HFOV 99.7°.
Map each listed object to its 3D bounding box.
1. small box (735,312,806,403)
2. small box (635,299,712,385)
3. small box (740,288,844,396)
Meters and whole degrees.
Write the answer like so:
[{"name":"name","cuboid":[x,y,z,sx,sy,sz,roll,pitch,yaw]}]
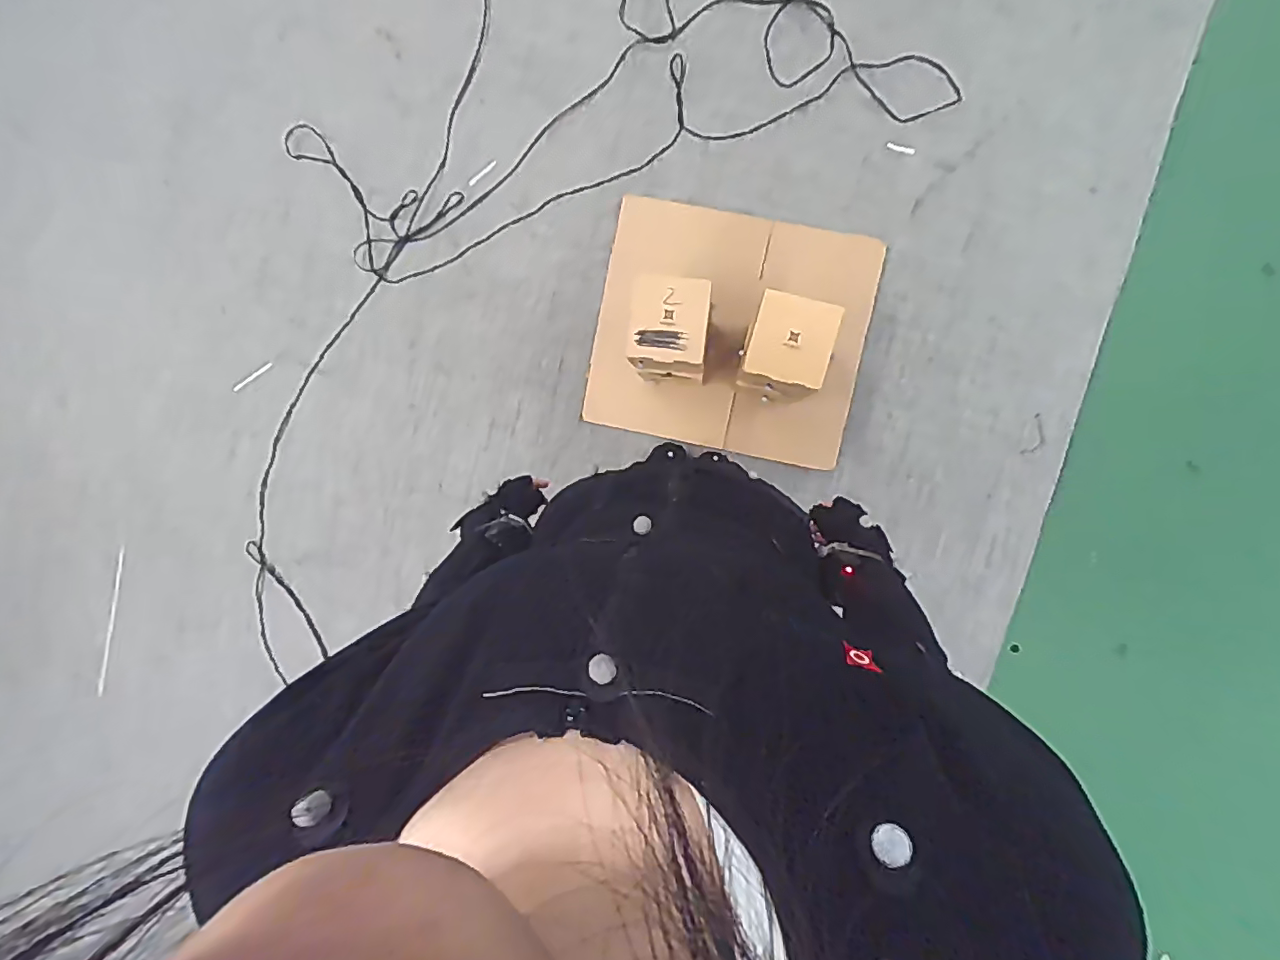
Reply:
[{"name":"small box","cuboid":[0.334,-0.296,1.337,0.168,0.176,0.179,12,96,7]},{"name":"small box","cuboid":[0.087,-0.338,1.357,0.168,0.176,0.179,8,95,5]},{"name":"small box","cuboid":[0.320,-0.291,1.175,0.168,0.176,0.179,15,96,5]}]
